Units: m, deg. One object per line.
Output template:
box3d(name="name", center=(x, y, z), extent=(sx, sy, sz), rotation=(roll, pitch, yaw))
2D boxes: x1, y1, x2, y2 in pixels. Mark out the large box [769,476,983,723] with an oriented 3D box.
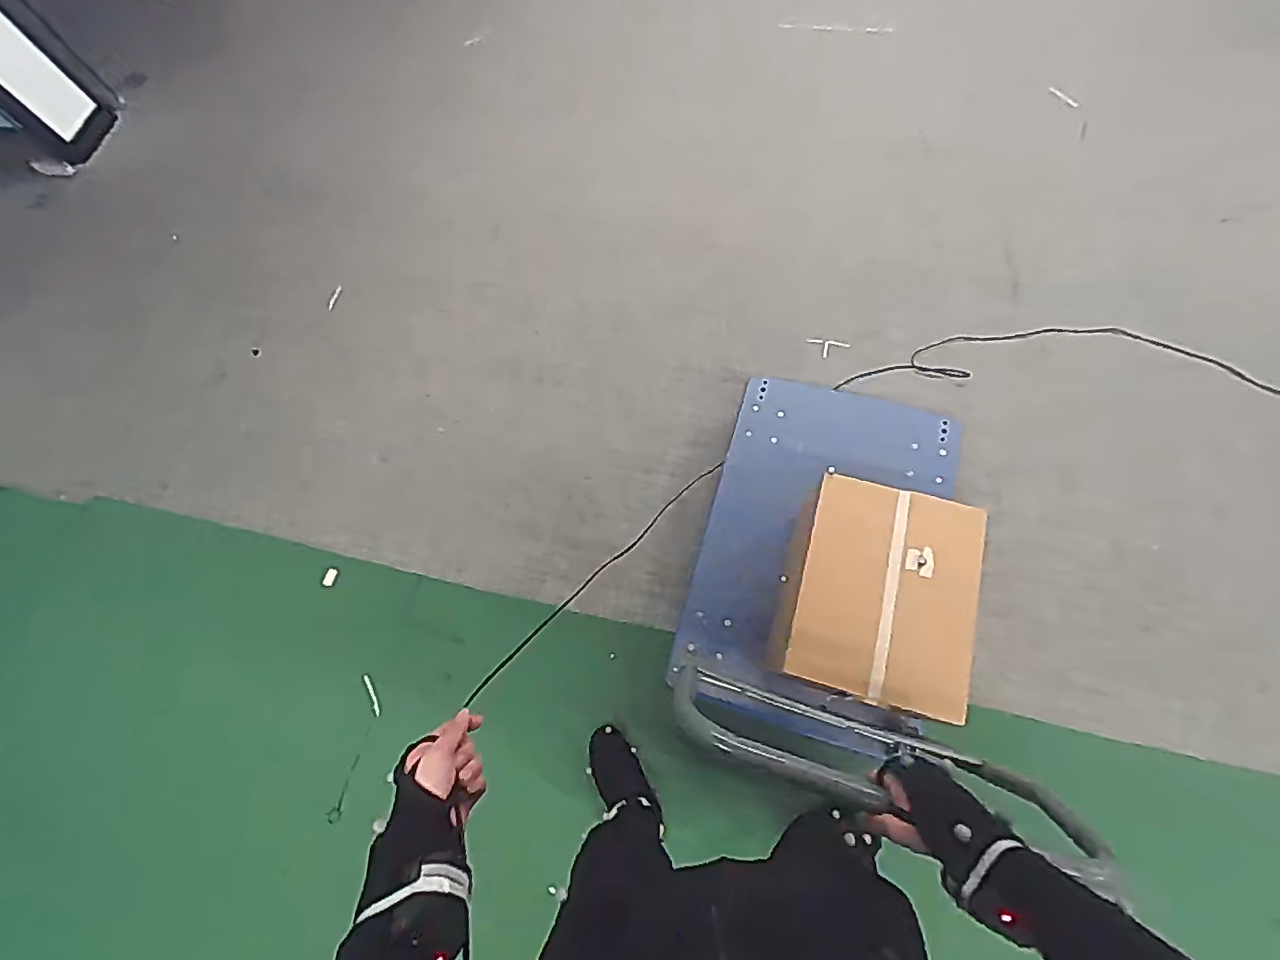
box3d(name="large box", center=(0.479, 0.260, 1.150), extent=(0.320, 0.320, 0.408), rotation=(15, 71, 9))
